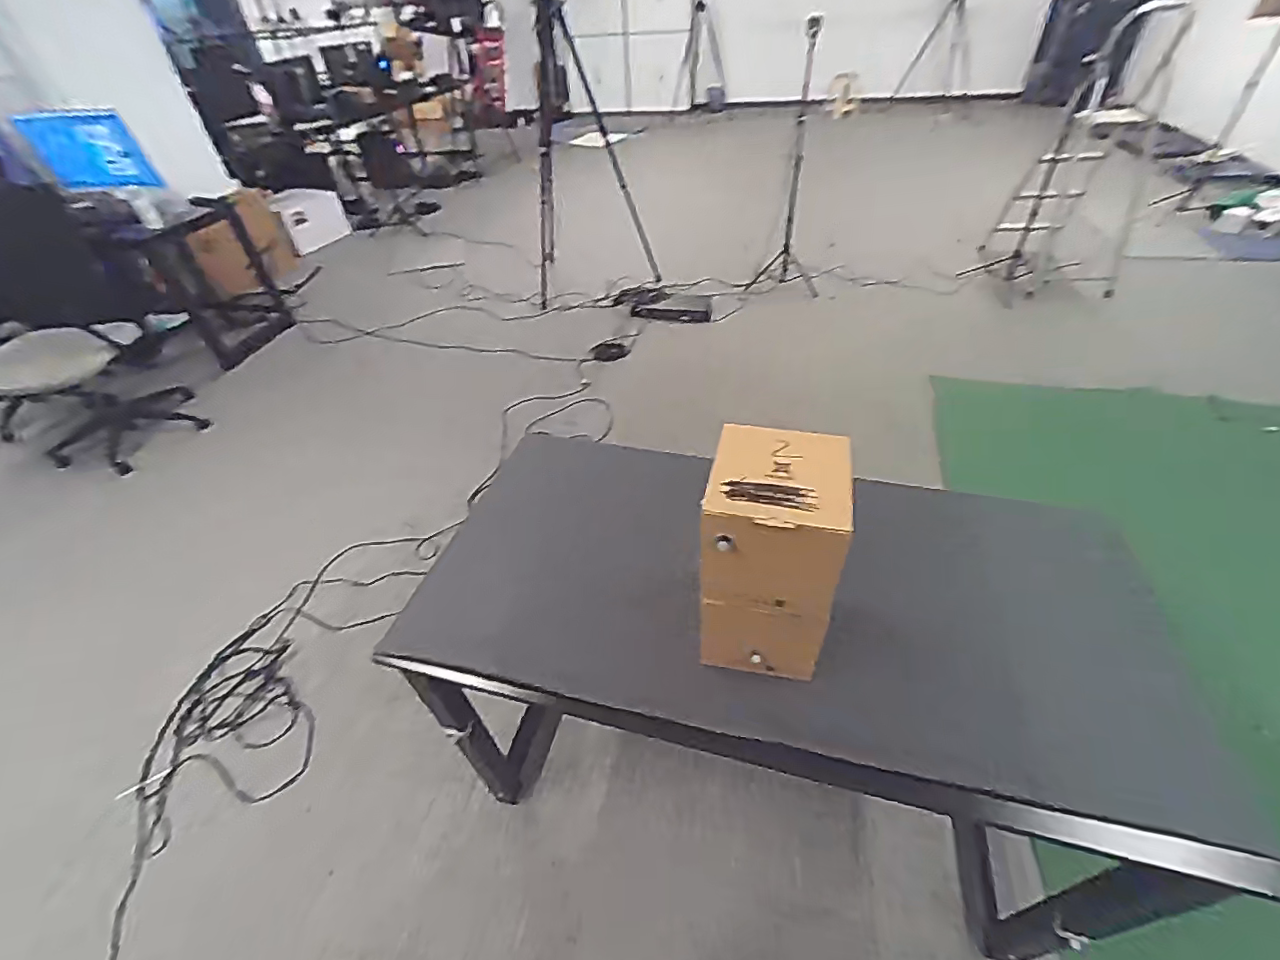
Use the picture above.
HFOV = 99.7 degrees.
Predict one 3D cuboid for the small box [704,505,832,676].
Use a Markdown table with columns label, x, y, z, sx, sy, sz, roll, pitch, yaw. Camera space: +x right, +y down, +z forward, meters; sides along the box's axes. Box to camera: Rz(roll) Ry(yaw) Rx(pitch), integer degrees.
| label | x | y | z | sx | sy | sz | roll | pitch | yaw |
| --- | --- | --- | --- | --- | --- | --- | --- | --- | --- |
| small box | 0.189 | 0.164 | 0.816 | 0.168 | 0.176 | 0.179 | 6 | 42 | 12 |
